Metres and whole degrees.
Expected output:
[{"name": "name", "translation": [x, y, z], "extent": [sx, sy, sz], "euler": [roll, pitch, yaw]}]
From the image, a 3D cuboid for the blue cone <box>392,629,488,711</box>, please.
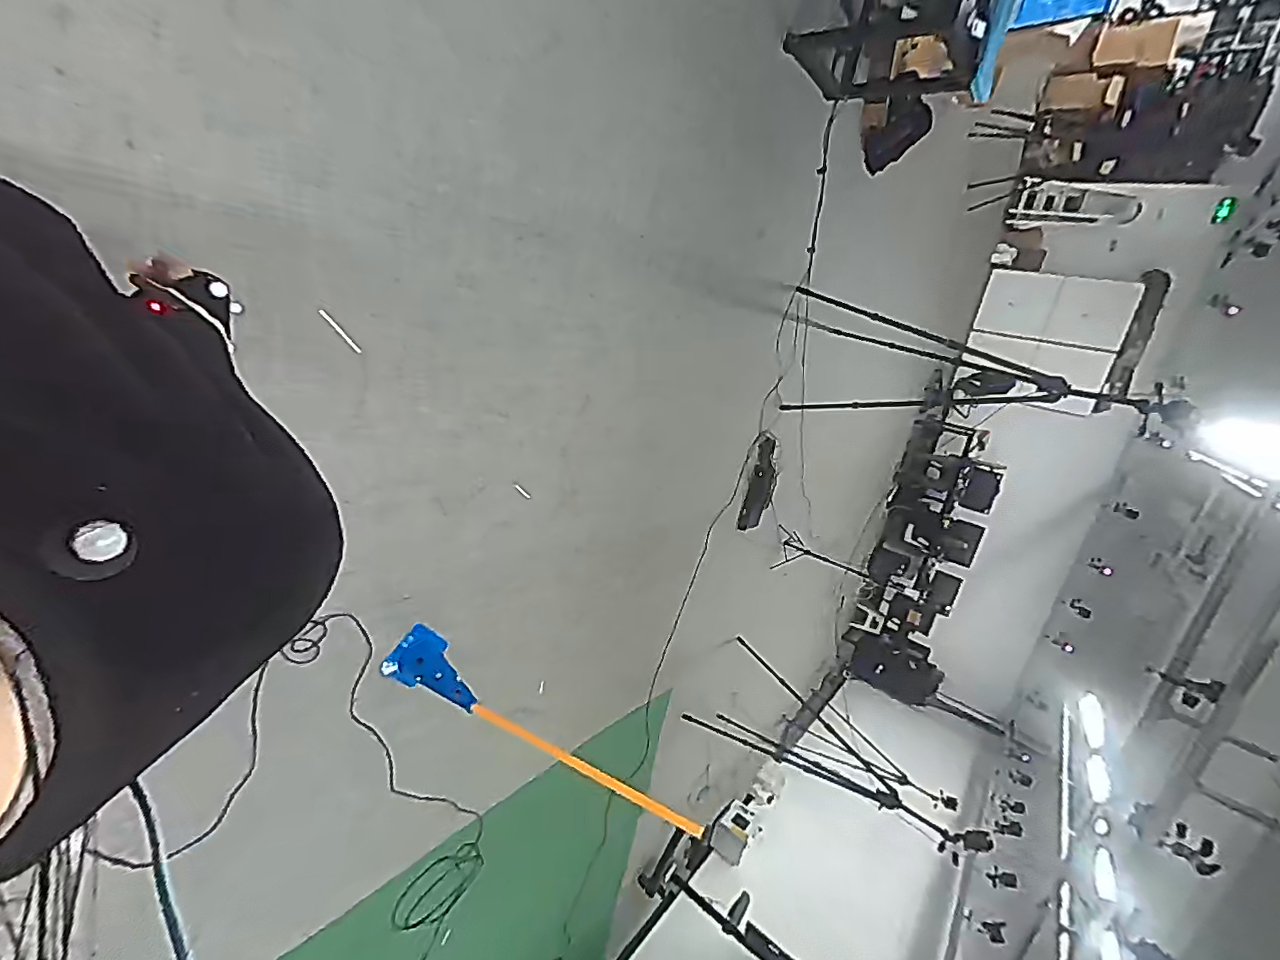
[{"name": "blue cone", "translation": [-0.662, 0.687, 1.868], "extent": [0.193, 0.380, 0.192], "euler": [-55, 143, -22]}]
